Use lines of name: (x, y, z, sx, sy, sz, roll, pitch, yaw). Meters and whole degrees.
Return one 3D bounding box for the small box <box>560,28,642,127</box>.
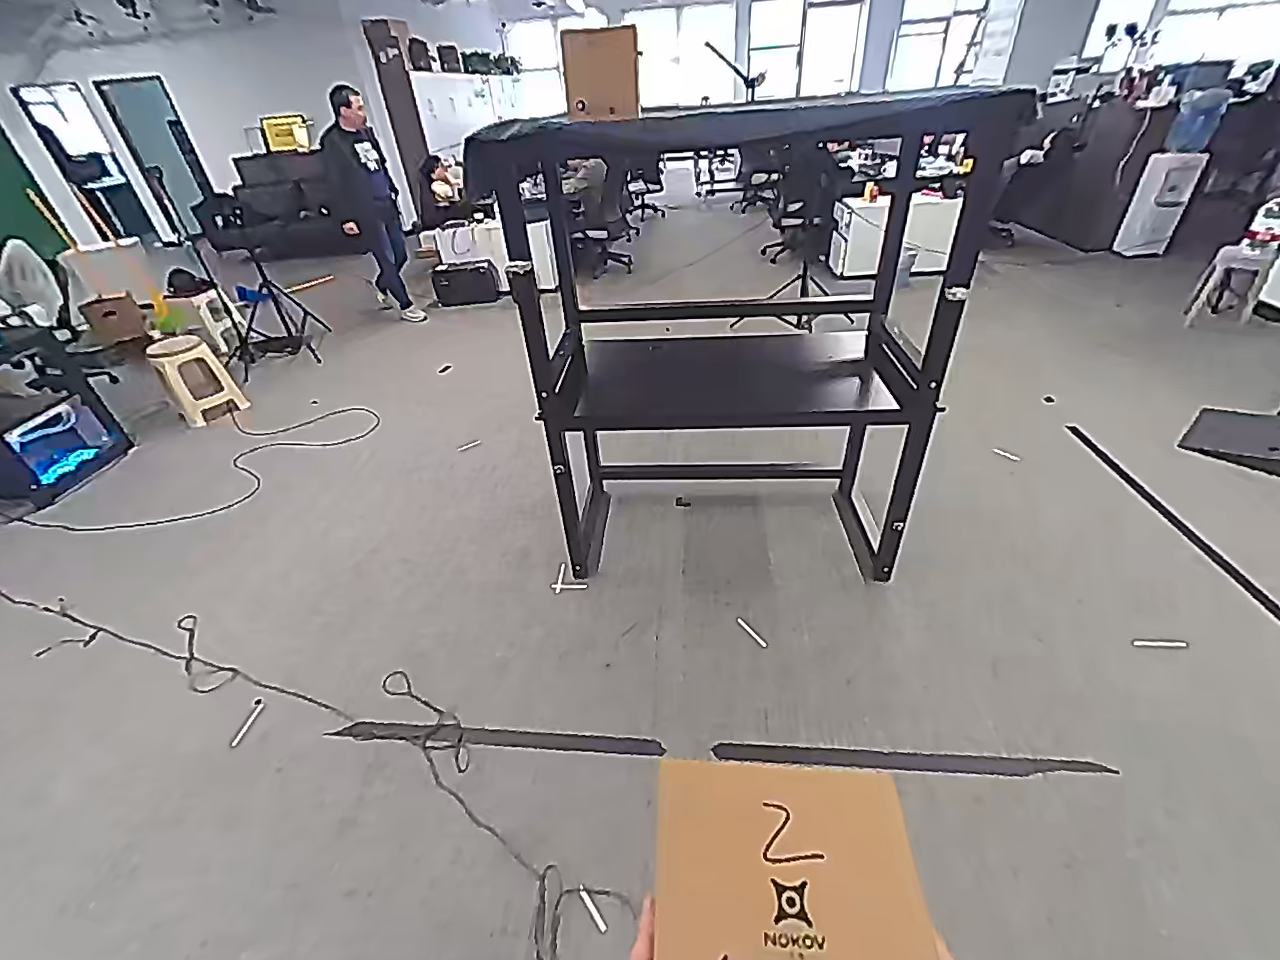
small box: (-0.082, -0.932, 1.262, 0.168, 0.176, 0.179, -1, 34, 3)
